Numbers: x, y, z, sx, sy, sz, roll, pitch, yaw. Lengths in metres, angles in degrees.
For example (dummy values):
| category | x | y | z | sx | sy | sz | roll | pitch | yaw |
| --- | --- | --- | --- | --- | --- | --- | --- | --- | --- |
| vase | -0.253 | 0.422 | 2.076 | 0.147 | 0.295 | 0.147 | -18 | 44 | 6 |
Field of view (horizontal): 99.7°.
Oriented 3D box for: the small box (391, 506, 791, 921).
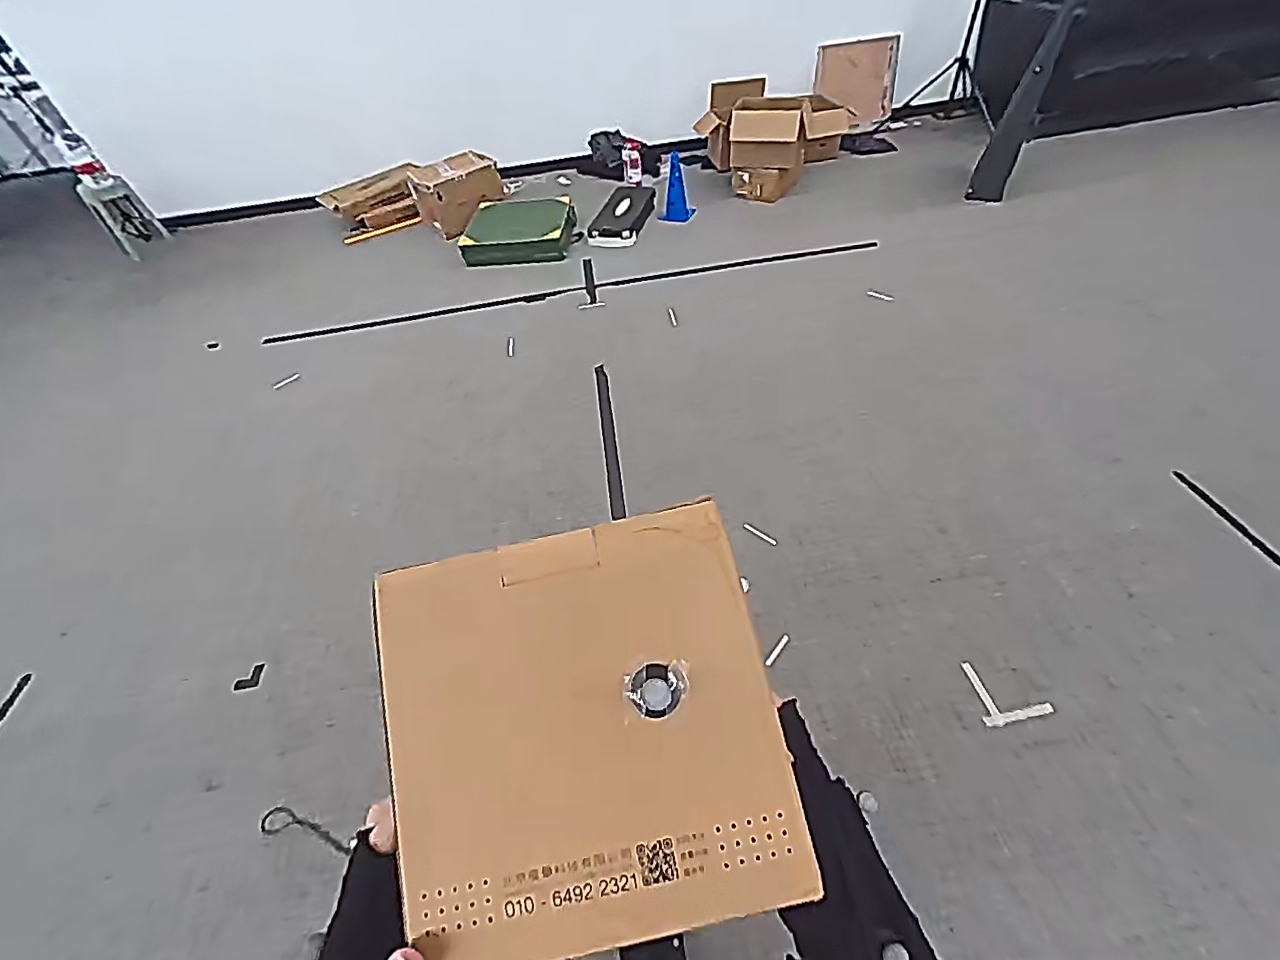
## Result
| category | x | y | z | sx | sy | sz | roll | pitch | yaw |
| --- | --- | --- | --- | --- | --- | --- | --- | --- | --- |
| small box | -0.021 | 0.129 | 0.328 | 0.168 | 0.179 | 0.176 | -13 | 76 | 1 |
